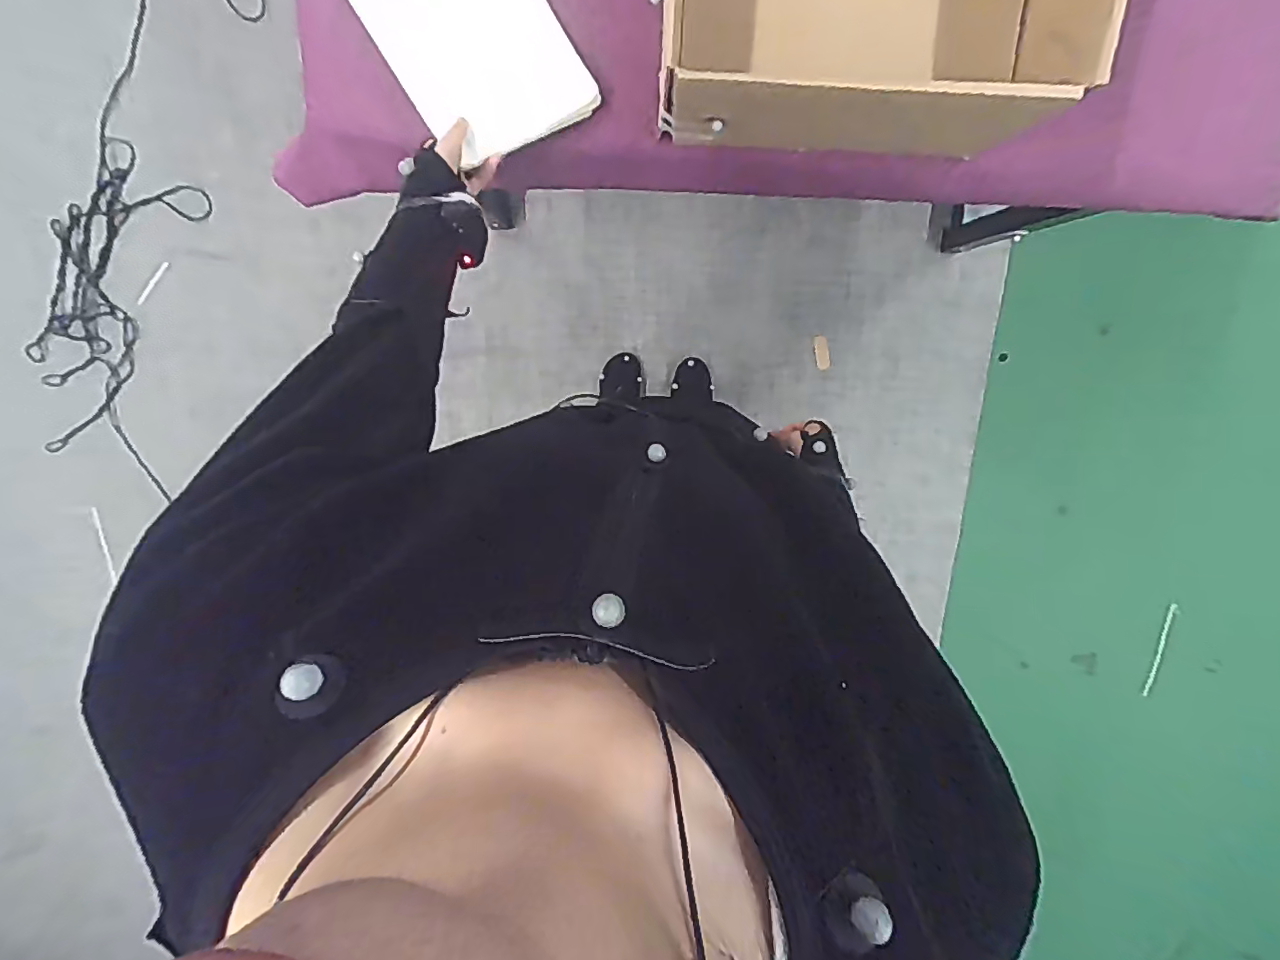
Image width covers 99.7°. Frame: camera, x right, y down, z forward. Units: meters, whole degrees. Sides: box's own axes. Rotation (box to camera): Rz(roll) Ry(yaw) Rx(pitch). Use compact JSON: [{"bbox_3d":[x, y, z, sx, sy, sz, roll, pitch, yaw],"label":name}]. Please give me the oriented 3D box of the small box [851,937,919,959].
[{"bbox_3d":[0.674,1.358,1.434,0.168,0.176,0.179,-12,103,4],"label":"small box"}]
